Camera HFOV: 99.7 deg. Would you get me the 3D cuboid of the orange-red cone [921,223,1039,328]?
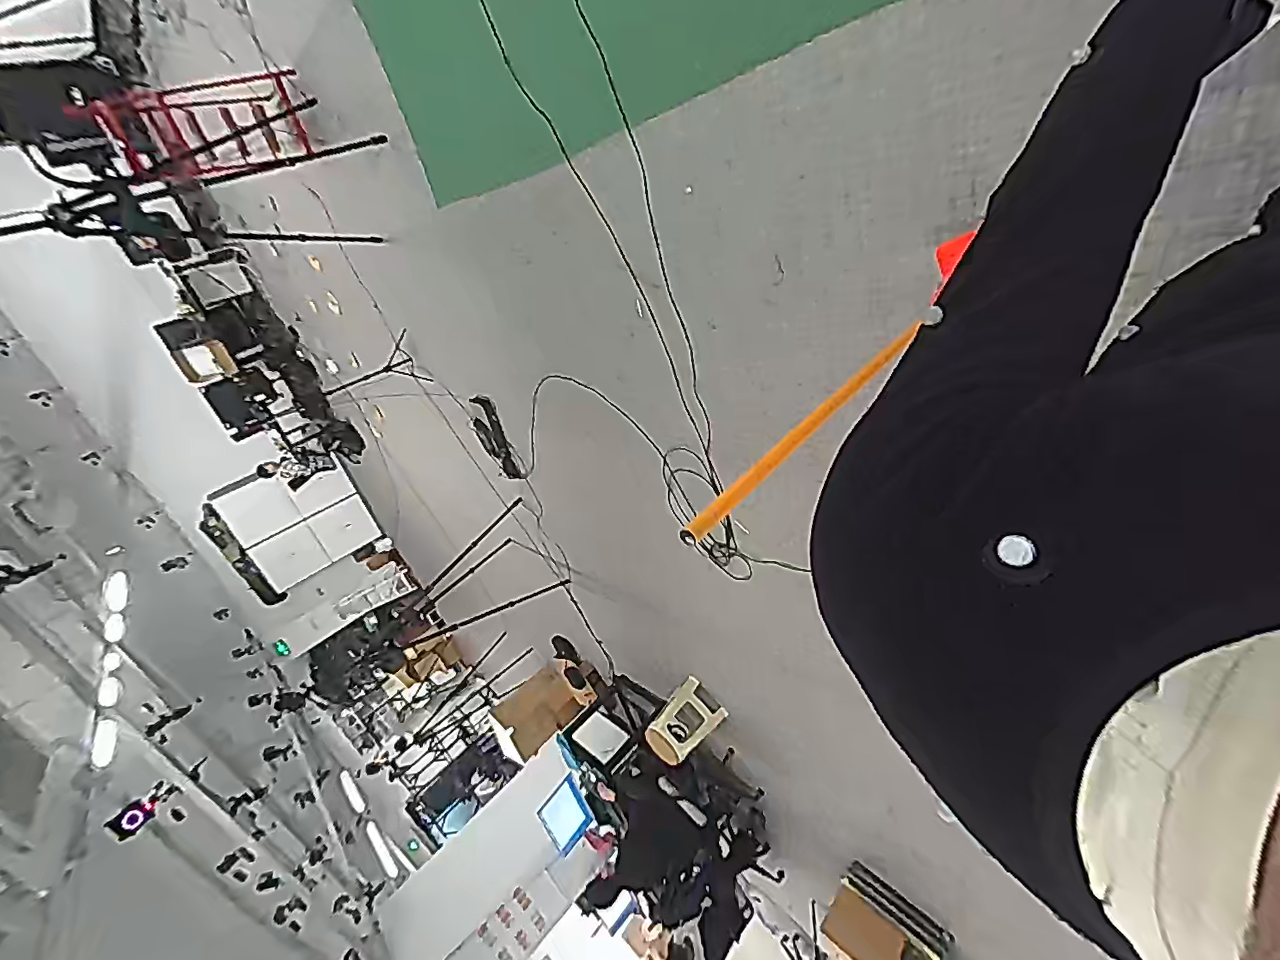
[{"bbox_3d":[0.742,-0.427,1.253,0.199,0.360,0.198,-5,115,55],"label":"orange-red cone"}]
